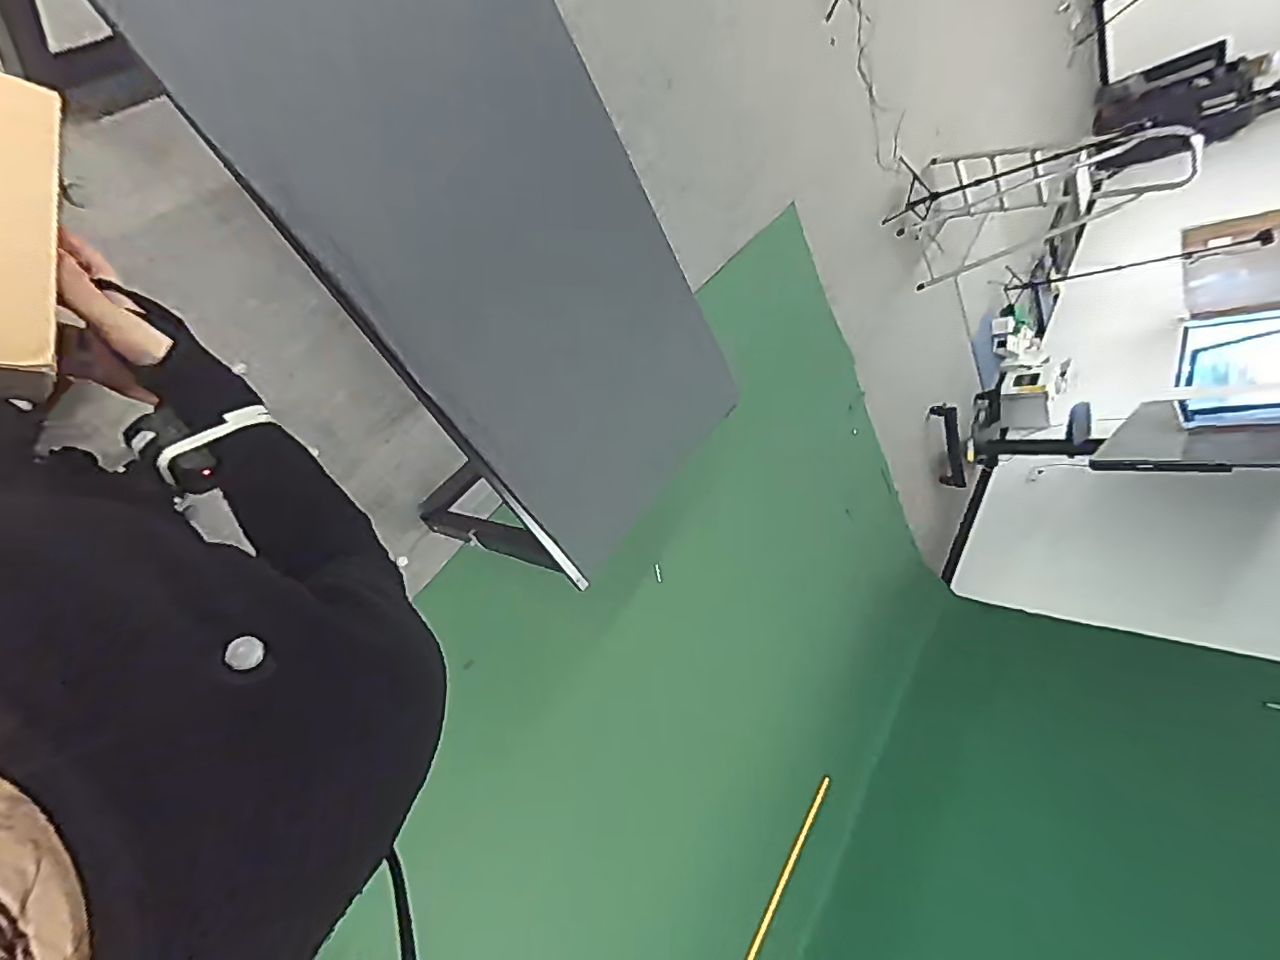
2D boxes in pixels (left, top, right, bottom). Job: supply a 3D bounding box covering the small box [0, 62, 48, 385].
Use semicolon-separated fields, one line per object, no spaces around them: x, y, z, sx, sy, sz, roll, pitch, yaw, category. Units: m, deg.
-0.481;-0.162;0.318;0.168;0.176;0.179;2;88;-50;small box
